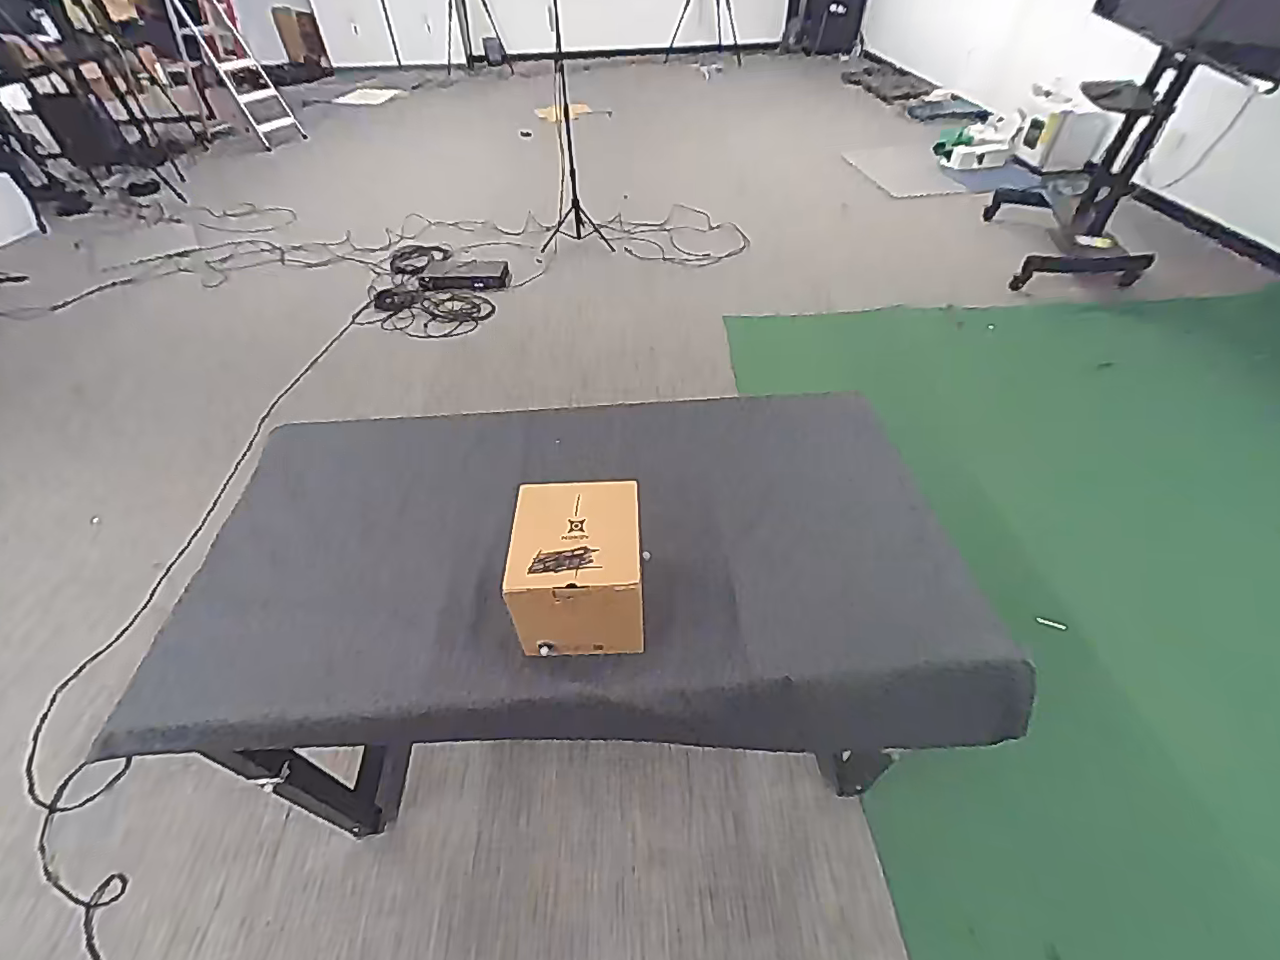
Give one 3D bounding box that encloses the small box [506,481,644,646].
[{"bbox_3d":[-0.079,0.121,0.764,0.168,0.176,0.179,-1,45,0],"label":"small box"}]
